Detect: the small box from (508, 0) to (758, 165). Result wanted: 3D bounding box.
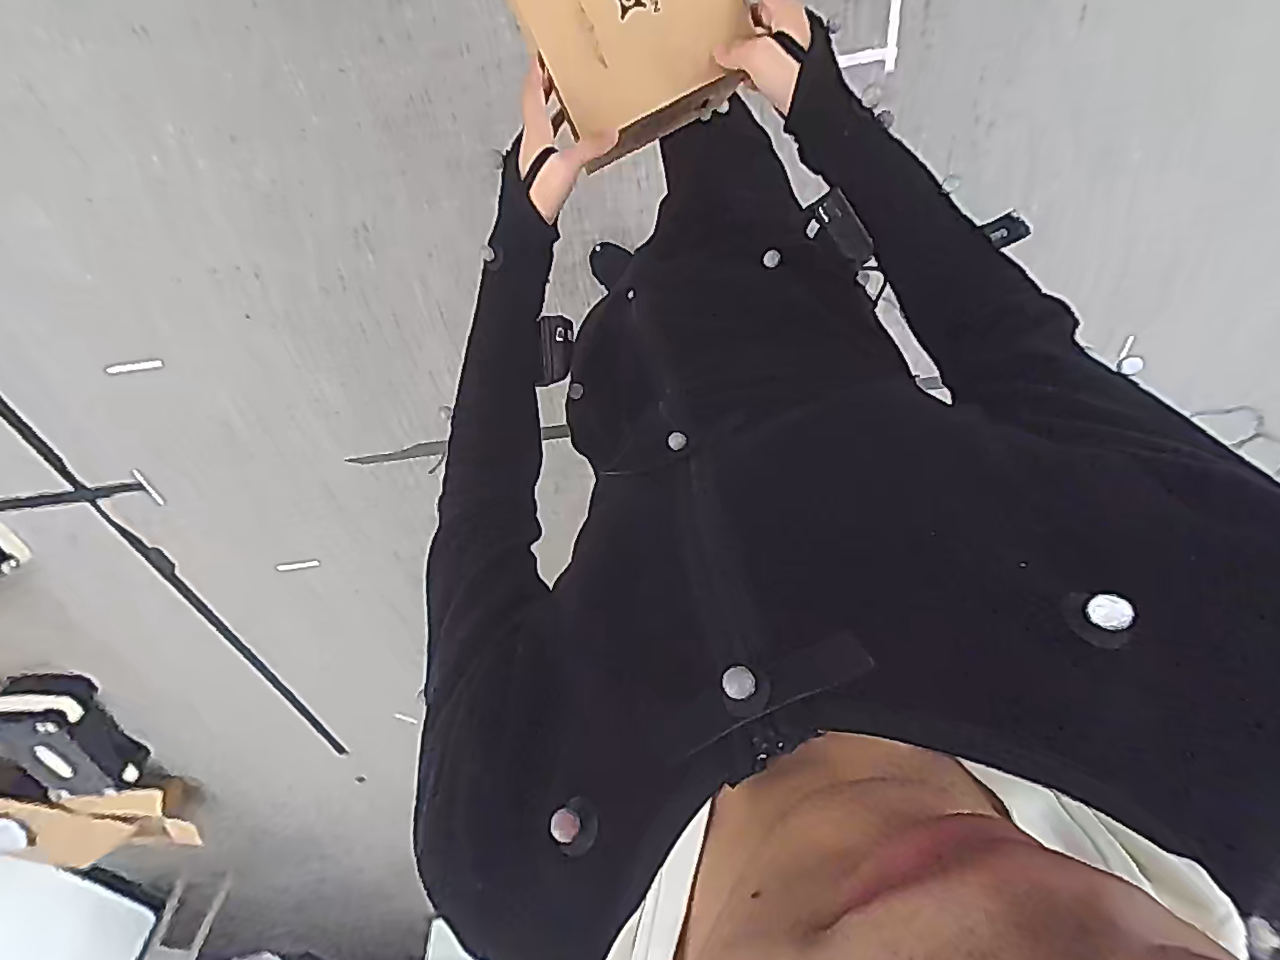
[{"bbox_3d":[-0.018,-0.430,0.509,0.179,0.176,0.168,-26,111,5],"label":"small box"}]
